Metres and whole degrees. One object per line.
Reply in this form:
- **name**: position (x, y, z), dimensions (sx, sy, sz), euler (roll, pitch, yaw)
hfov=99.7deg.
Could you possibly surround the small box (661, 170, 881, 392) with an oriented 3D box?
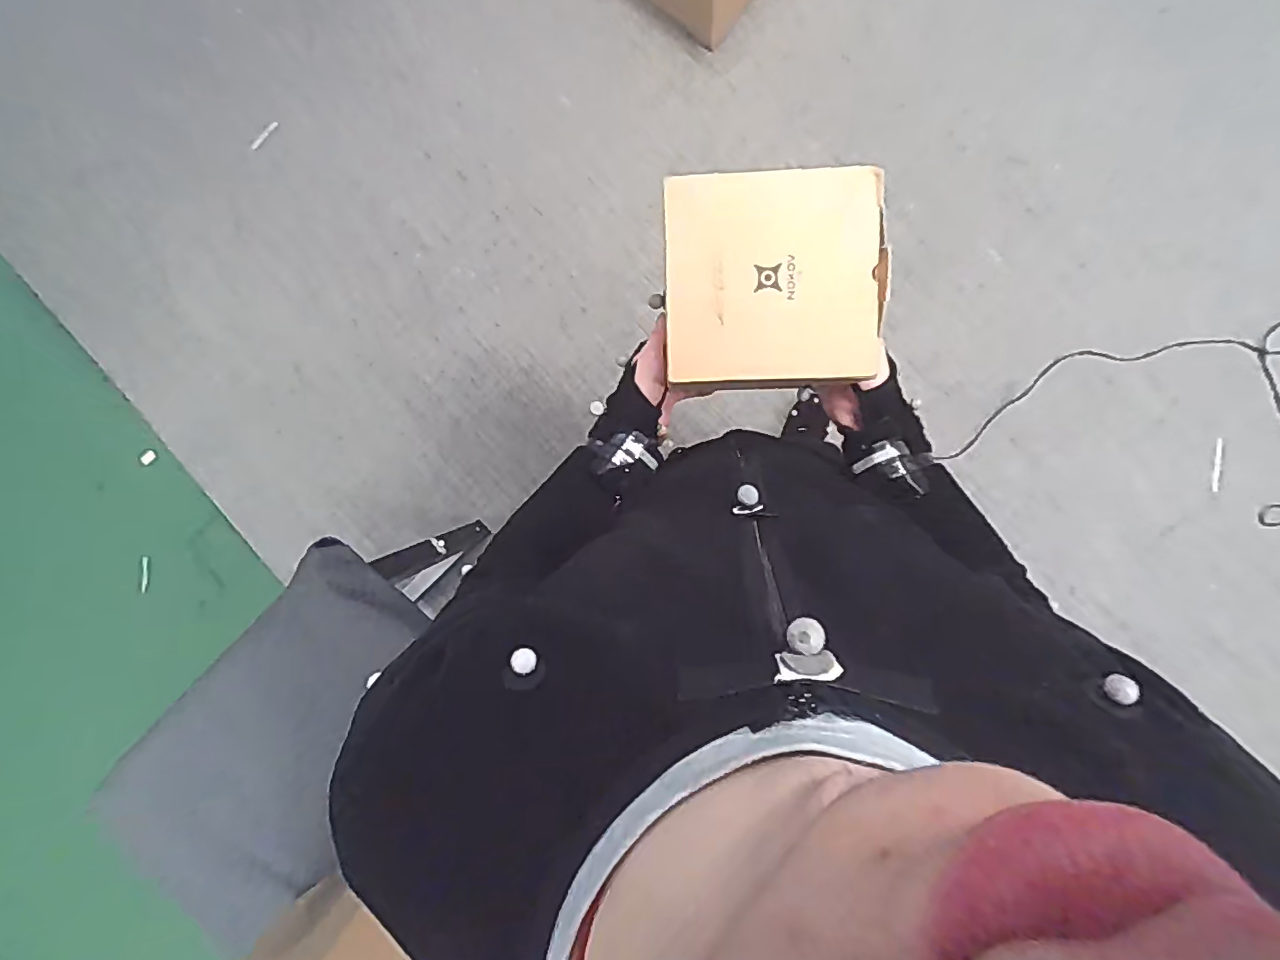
- **small box**: position (0.110, -0.172, 0.519), dimensions (0.179, 0.176, 0.168), euler (-1, 96, 4)
